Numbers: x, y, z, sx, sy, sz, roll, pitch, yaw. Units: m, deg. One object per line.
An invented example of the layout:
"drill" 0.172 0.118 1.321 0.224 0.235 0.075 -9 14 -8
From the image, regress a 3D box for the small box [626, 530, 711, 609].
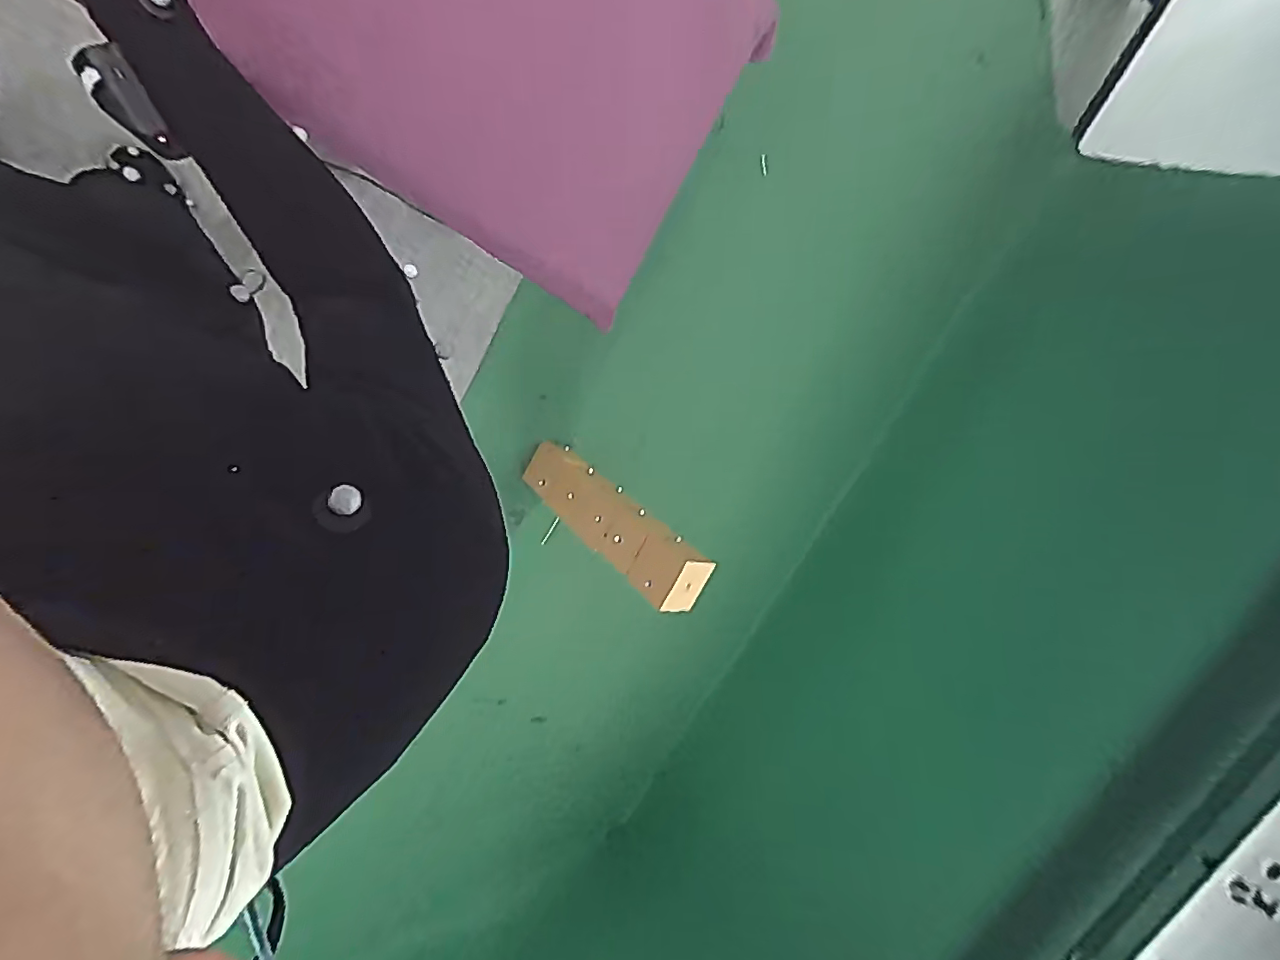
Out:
"small box" 0.081 0.278 1.675 0.168 0.176 0.179 16 106 -50

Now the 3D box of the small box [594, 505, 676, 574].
"small box" -0.021 0.198 1.775 0.179 0.176 0.168 16 106 -48

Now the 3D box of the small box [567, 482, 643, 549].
"small box" -0.126 0.127 1.878 0.168 0.176 0.179 13 109 -48

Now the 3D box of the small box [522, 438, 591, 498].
"small box" -0.328 -0.033 2.078 0.168 0.176 0.179 19 104 -50

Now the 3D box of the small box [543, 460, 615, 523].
"small box" -0.229 0.051 1.980 0.168 0.176 0.179 15 106 -49
